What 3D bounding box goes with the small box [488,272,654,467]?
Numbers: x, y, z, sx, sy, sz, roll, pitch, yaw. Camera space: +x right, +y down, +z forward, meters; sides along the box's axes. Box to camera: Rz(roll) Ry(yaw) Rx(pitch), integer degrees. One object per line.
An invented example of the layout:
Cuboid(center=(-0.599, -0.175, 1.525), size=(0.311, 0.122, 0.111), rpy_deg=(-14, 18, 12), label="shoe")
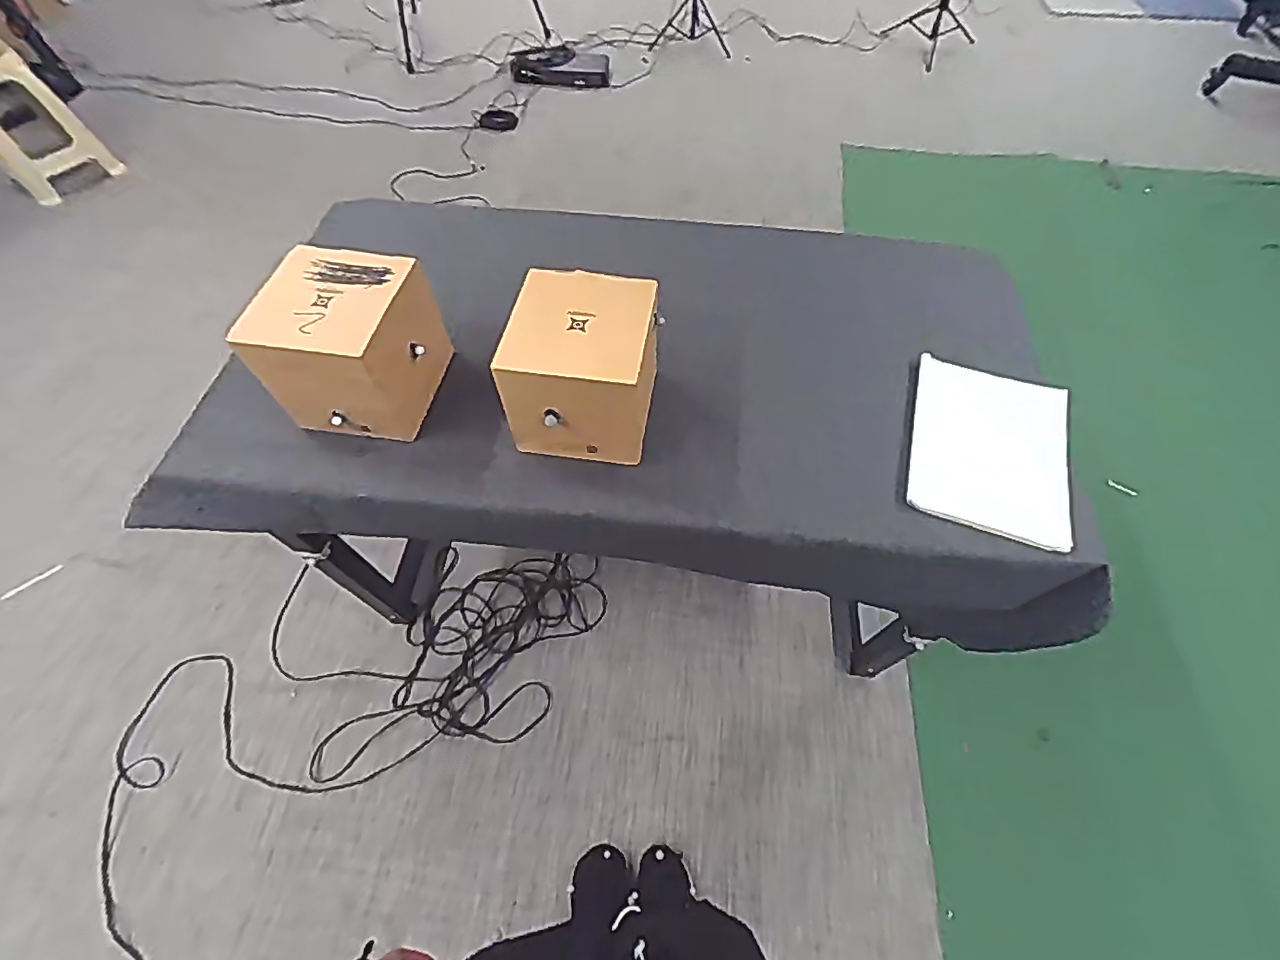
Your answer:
Cuboid(center=(-0.073, -0.136, 0.692), size=(0.168, 0.176, 0.179), rpy_deg=(7, 58, 4), label="small box")
